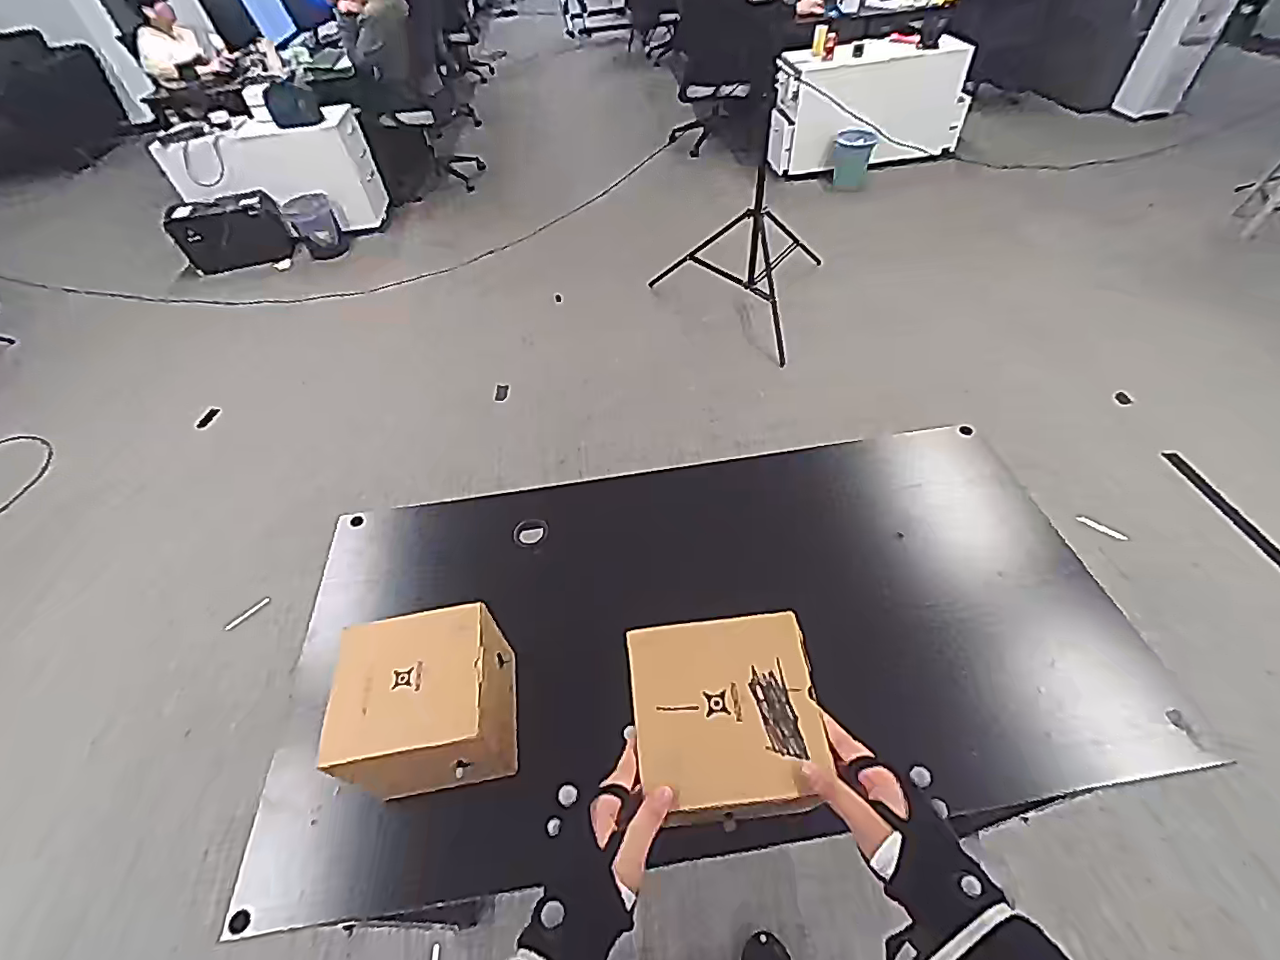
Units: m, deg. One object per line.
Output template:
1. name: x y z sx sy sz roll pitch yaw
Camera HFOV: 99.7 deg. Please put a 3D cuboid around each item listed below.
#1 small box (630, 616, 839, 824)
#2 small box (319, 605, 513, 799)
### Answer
1. small box: 0.085 0.260 0.576 0.179 0.176 0.168 -6 54 0
2. small box: -0.263 0.285 0.688 0.179 0.176 0.168 -11 49 -3
